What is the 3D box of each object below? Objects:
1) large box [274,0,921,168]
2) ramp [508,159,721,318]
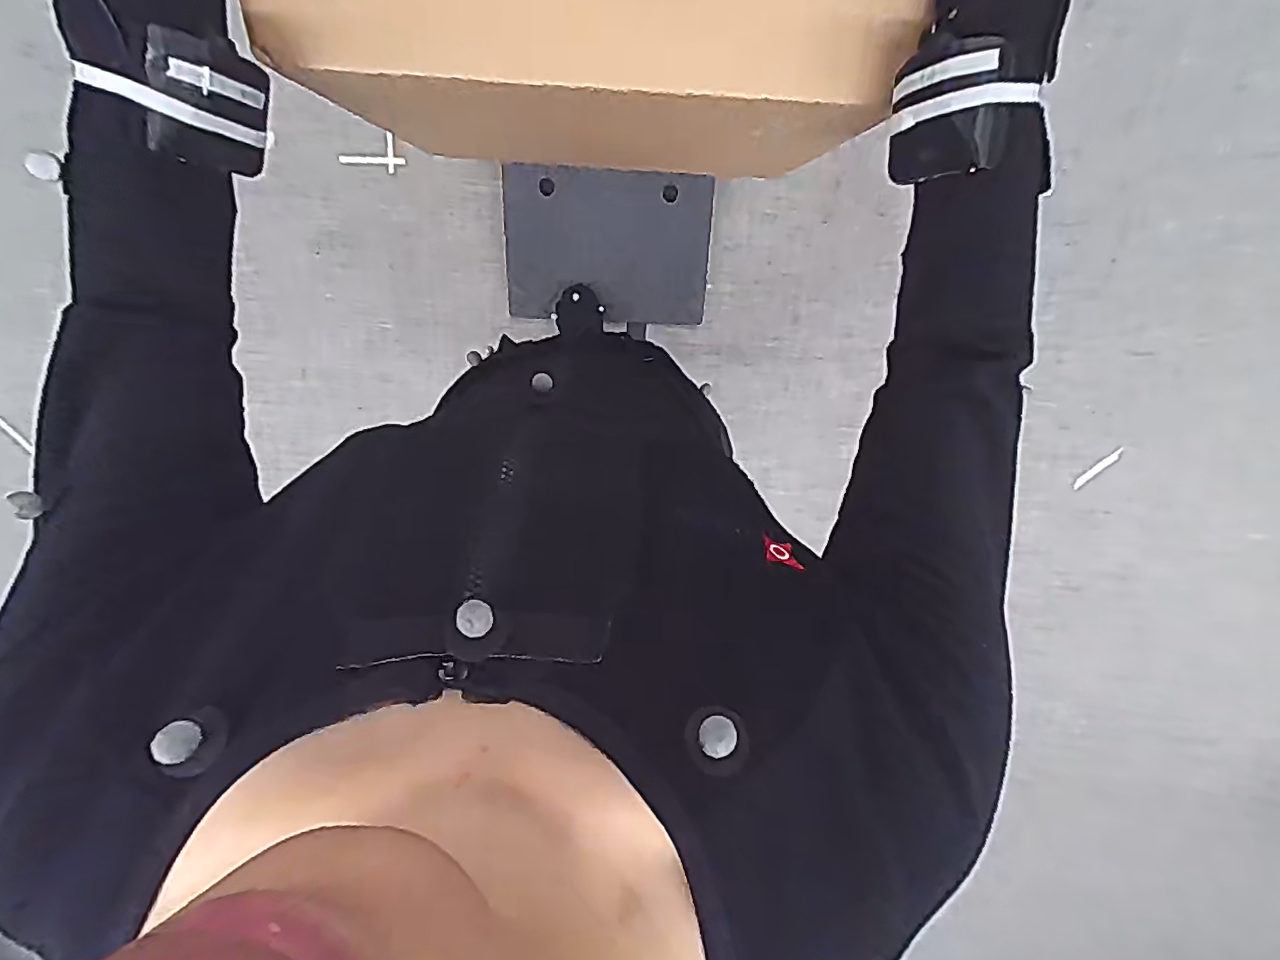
[{"bbox_3d":[-0.026,-0.452,0.428,0.408,0.320,0.320,1,112,-3],"label":"large box"},{"bbox_3d":[-0.050,-0.872,1.173,0.509,0.206,0.991,0,105,-2],"label":"ramp"}]
